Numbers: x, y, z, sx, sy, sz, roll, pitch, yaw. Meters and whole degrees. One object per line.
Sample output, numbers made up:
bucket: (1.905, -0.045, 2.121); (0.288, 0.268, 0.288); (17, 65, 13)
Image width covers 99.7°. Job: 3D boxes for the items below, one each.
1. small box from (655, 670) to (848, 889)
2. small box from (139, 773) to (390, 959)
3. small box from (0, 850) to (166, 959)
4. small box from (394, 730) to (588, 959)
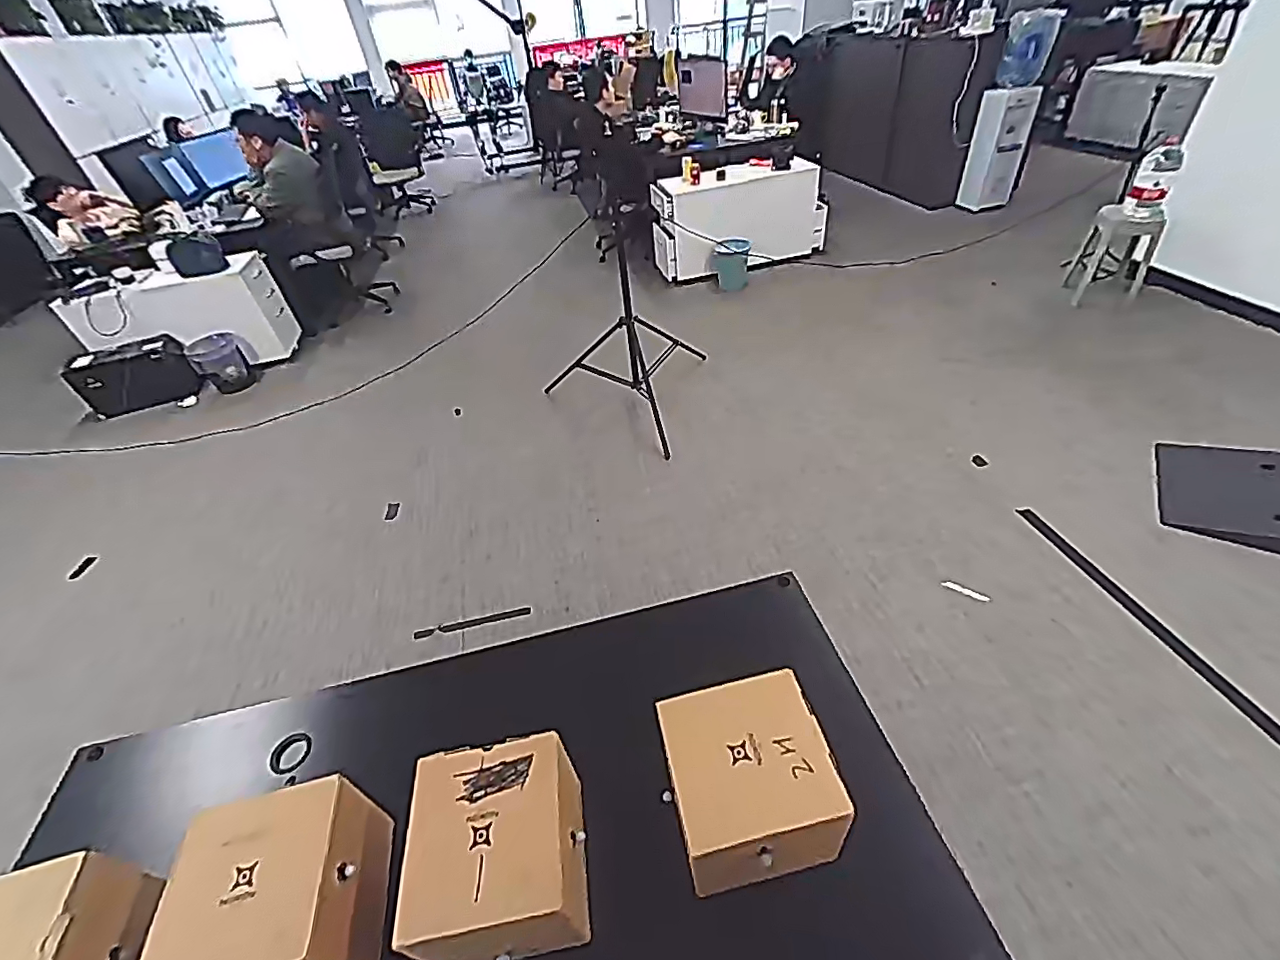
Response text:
small box: (0.125, 0.364, 0.656); (0.179, 0.176, 0.168); (-12, 41, -4)
small box: (-0.403, 0.474, 0.613); (0.168, 0.176, 0.179); (-13, 40, -7)
small box: (-0.655, 0.535, 0.577); (0.179, 0.176, 0.168); (-13, 41, -8)
small box: (-0.158, 0.426, 0.628); (0.168, 0.176, 0.179); (-10, 41, -3)
